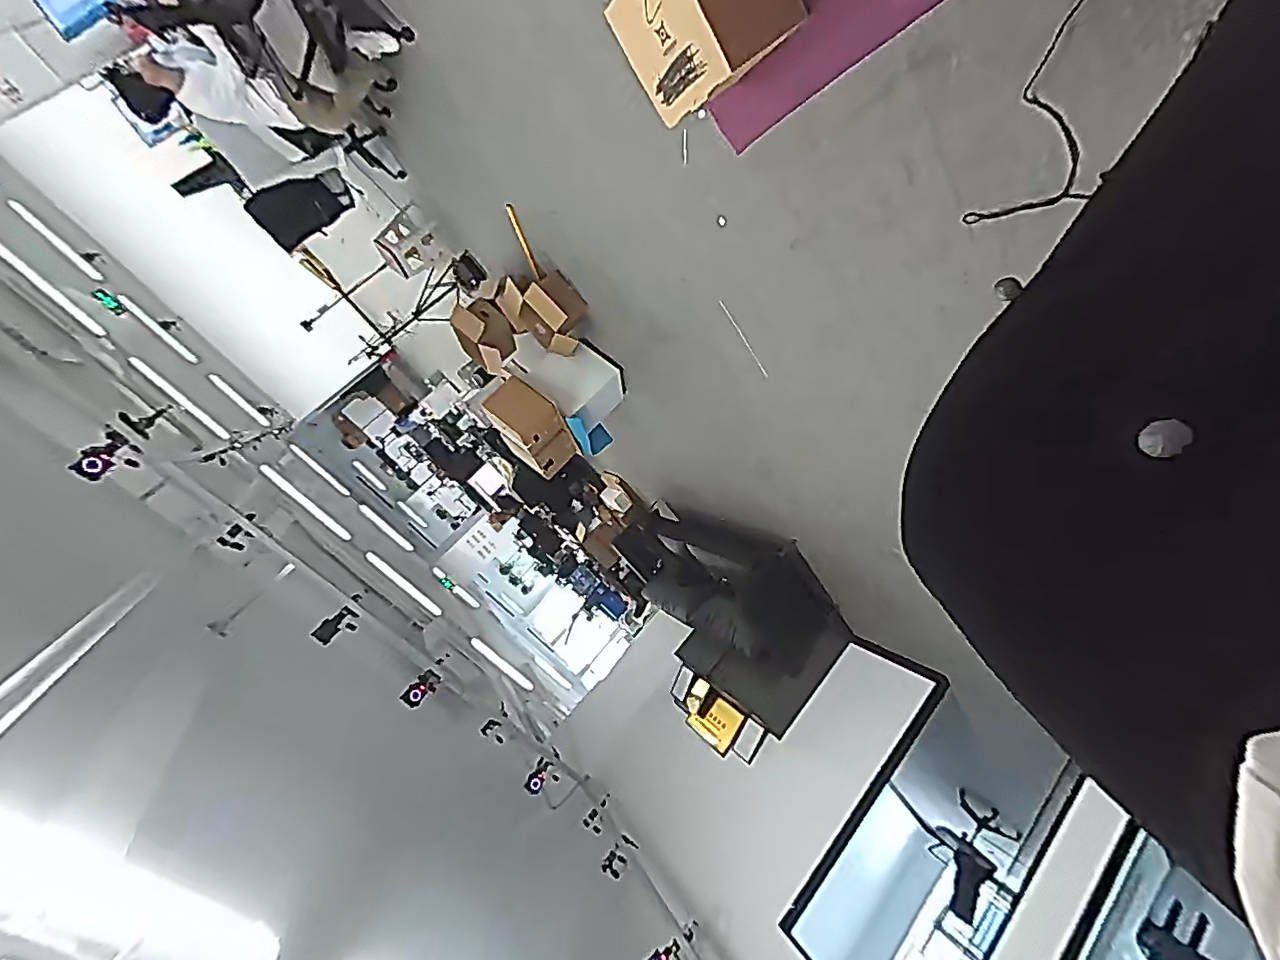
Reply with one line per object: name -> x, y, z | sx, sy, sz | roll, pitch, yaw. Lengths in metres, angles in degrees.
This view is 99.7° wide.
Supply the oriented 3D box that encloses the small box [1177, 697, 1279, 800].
small box -> 1.739, 0.785, 1.594 | 0.179, 0.176, 0.168 | 53, 164, -26
